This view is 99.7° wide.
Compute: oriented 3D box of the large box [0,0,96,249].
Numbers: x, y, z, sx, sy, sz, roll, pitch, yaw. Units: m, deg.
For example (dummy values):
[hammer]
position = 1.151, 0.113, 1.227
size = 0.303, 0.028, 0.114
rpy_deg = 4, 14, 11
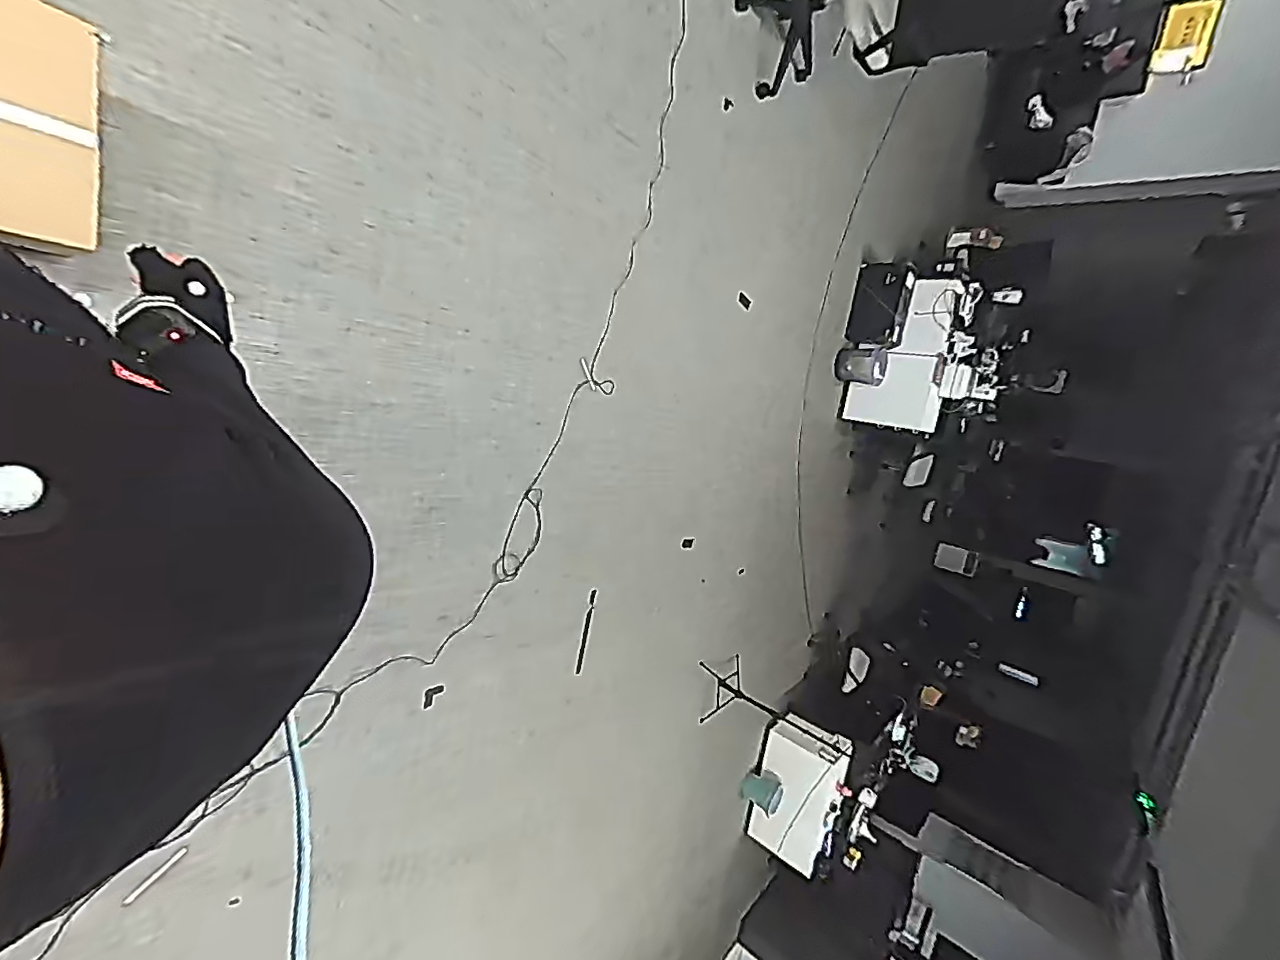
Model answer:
[large box]
position = -1.048, -0.535, 0.734
size = 0.408, 0.320, 0.320
rpy_deg = -2, 105, -52
